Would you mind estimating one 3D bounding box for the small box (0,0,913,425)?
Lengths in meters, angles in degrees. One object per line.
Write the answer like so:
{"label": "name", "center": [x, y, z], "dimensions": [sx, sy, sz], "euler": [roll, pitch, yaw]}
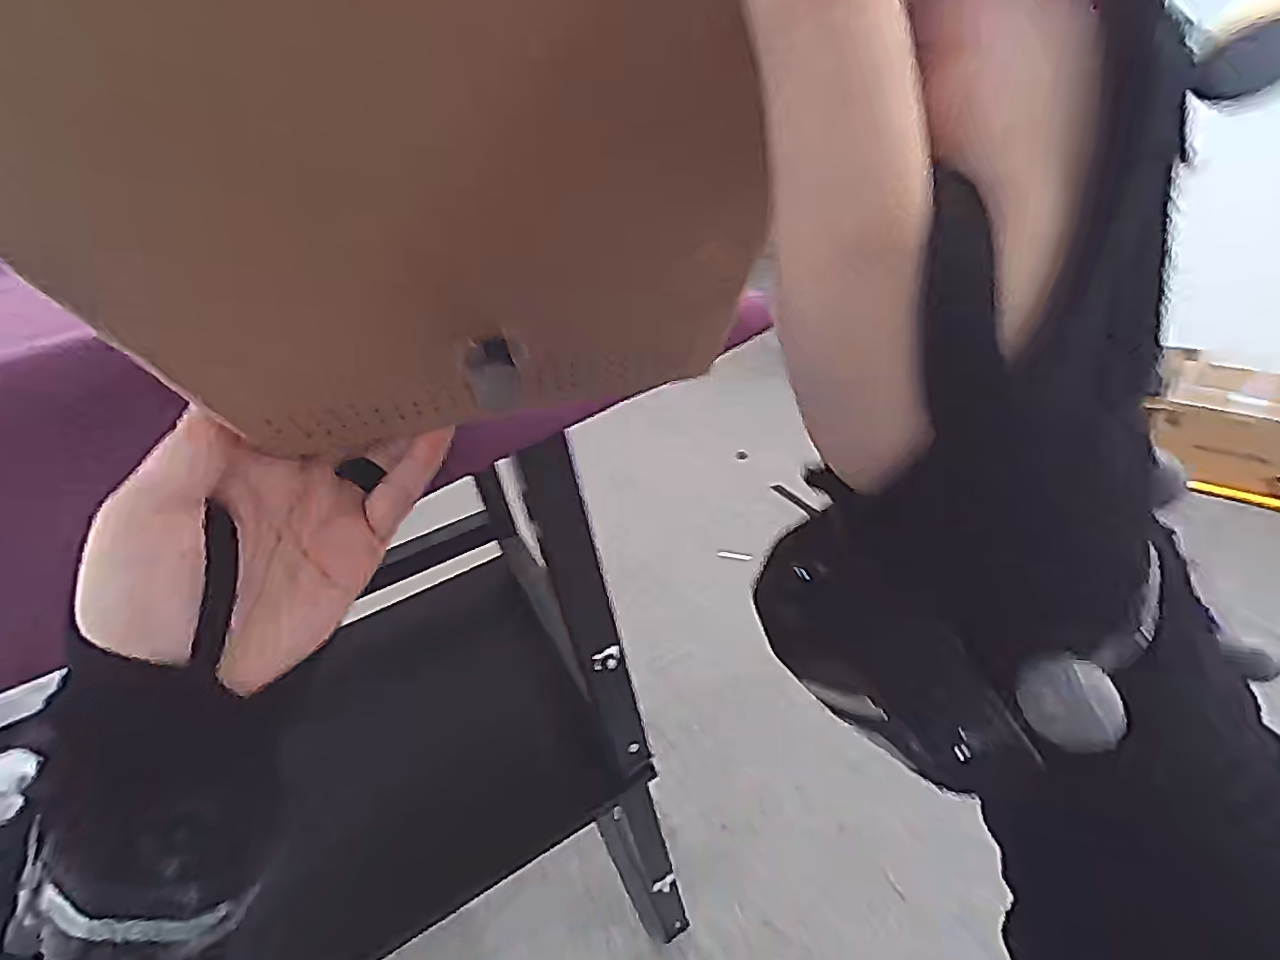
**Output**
{"label": "small box", "center": [-0.054, -0.134, 0.160], "dimensions": [0.179, 0.176, 0.168], "euler": [-12, 70, -11]}
